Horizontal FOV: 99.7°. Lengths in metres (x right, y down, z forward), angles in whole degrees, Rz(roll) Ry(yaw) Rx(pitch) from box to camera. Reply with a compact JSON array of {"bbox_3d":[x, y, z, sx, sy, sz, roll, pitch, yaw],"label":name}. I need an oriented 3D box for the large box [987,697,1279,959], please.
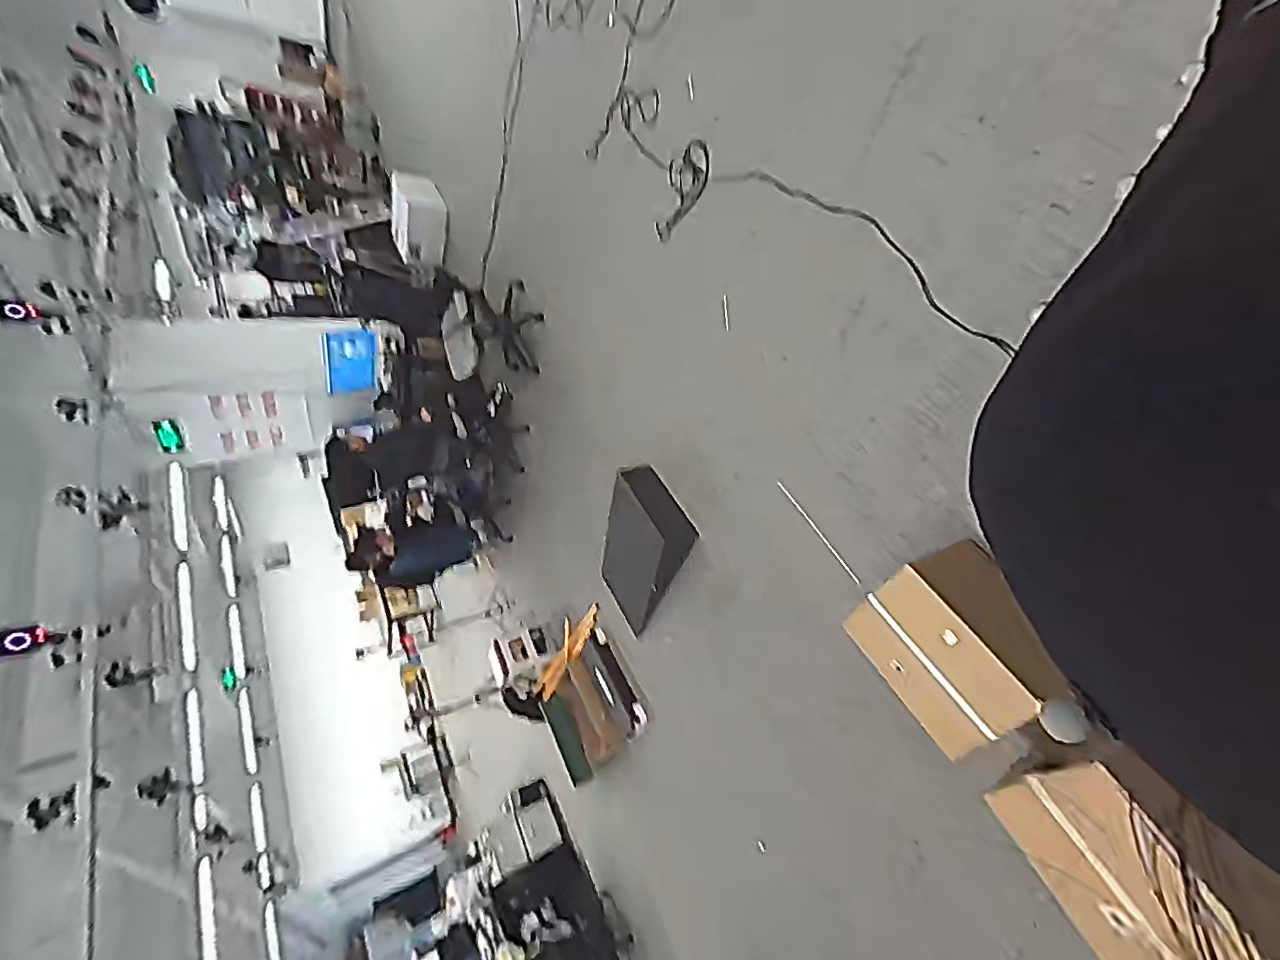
[{"bbox_3d":[1.091,0.767,1.181,0.408,0.320,0.320,58,143,27],"label":"large box"}]
